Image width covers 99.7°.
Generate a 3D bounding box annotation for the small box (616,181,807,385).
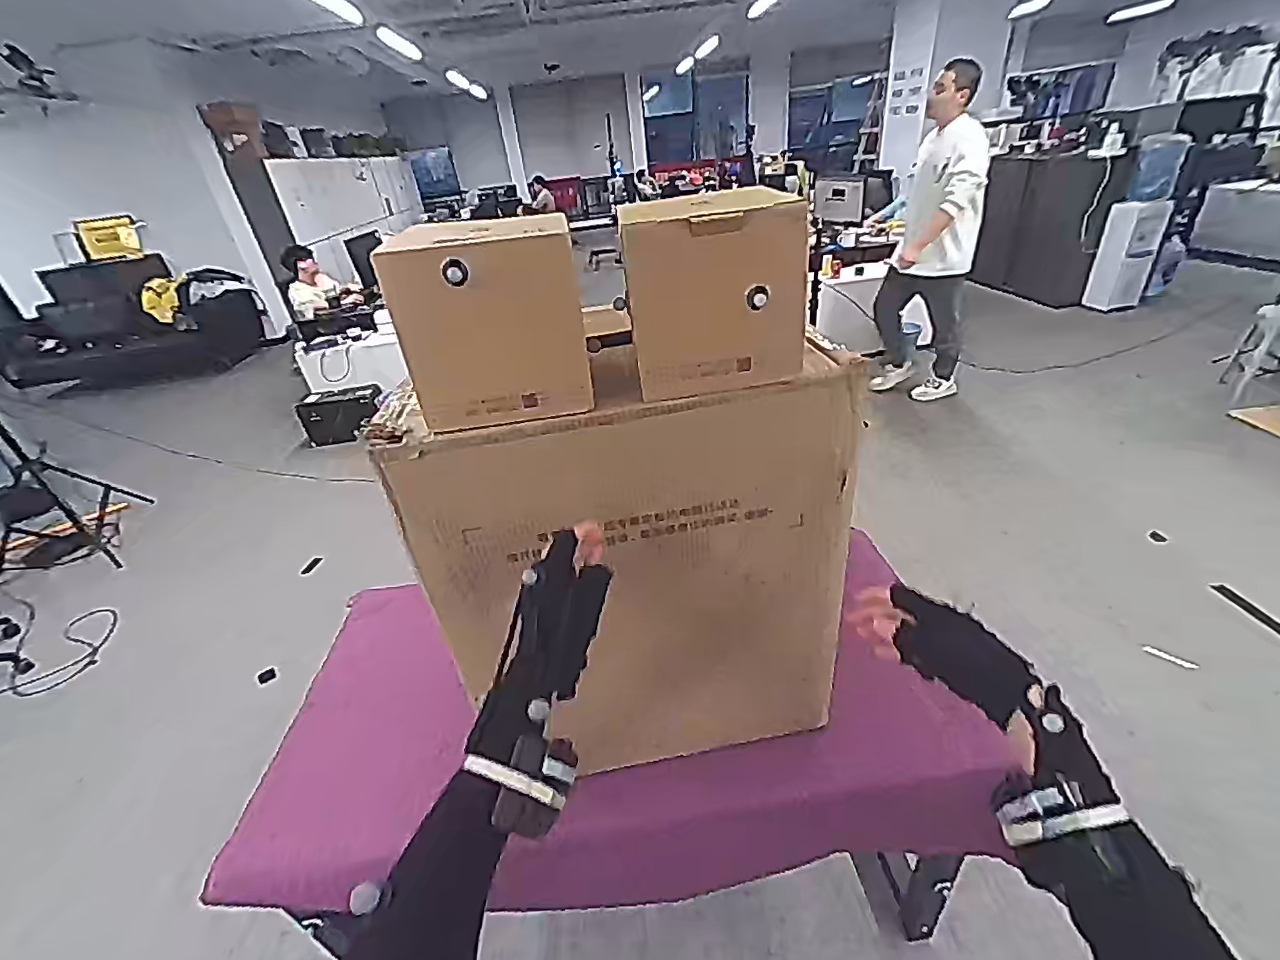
[{"bbox_3d":[0.068,-0.206,0.570,0.168,0.176,0.179,-7,31,0],"label":"small box"}]
